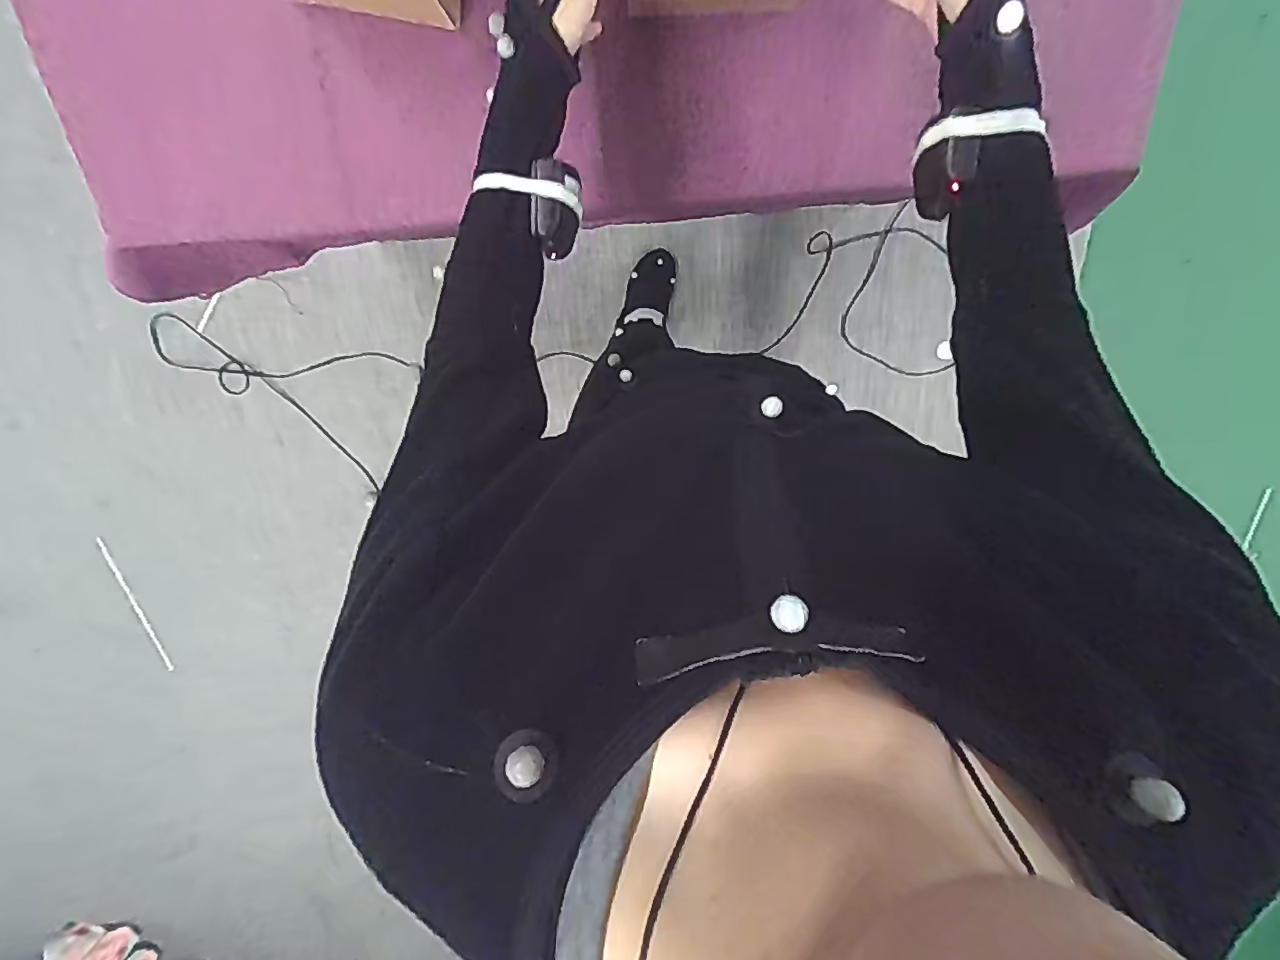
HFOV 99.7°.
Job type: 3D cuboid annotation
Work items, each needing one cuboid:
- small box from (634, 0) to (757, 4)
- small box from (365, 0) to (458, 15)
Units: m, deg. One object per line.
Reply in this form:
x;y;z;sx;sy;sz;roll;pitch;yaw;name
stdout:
0.074;-0.548;0.466;0.179;0.176;0.168;-3;112;-1;small box
-0.260;-0.533;0.452;0.179;0.176;0.168;5;112;-7;small box
